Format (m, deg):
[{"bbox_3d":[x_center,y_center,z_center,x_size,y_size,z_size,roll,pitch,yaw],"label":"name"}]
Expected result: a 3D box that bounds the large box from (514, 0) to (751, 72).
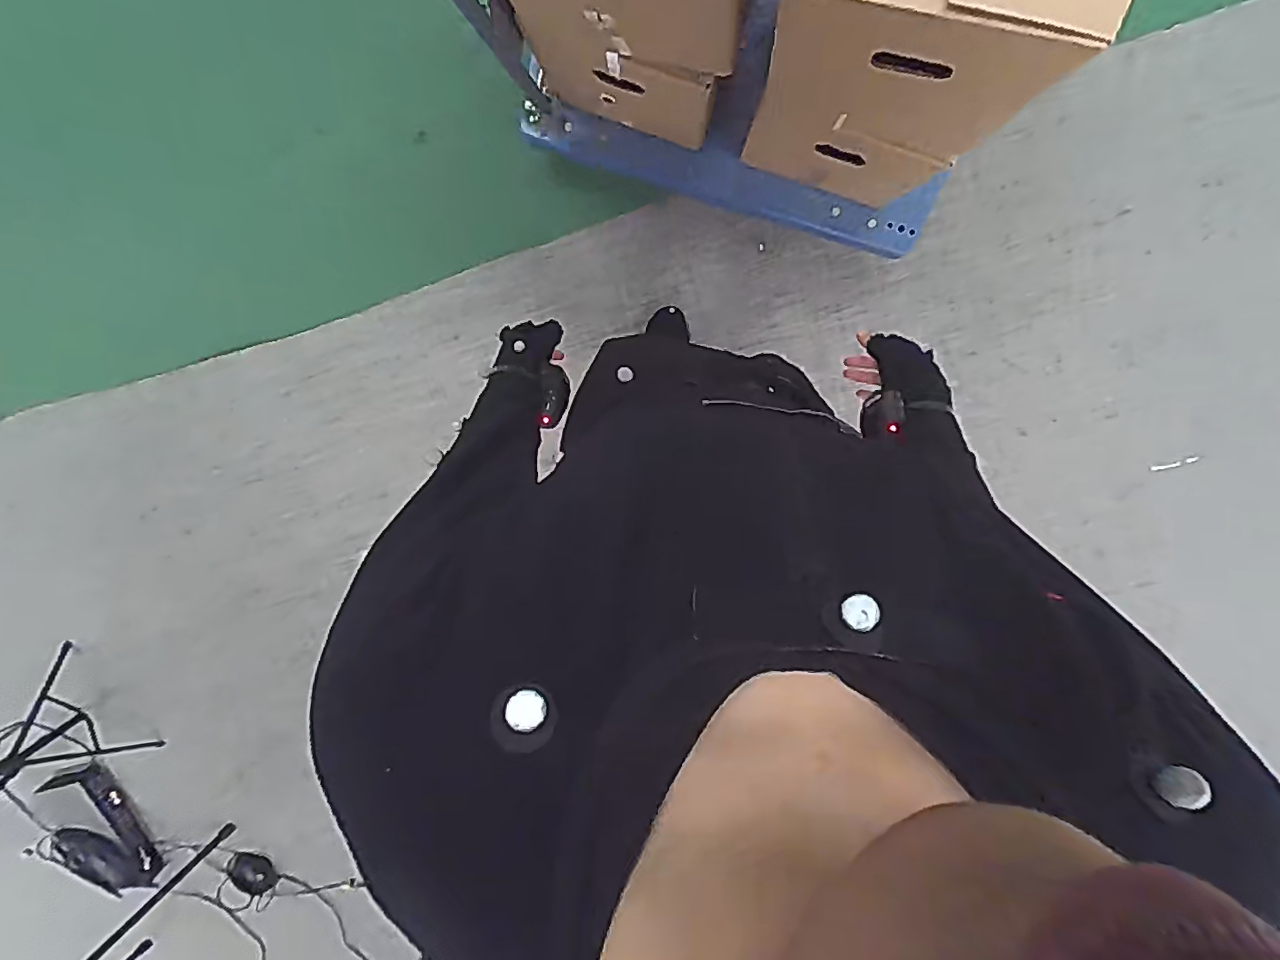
[{"bbox_3d":[0.009,-0.767,0.593,0.320,0.320,0.408,16,105,4],"label":"large box"}]
